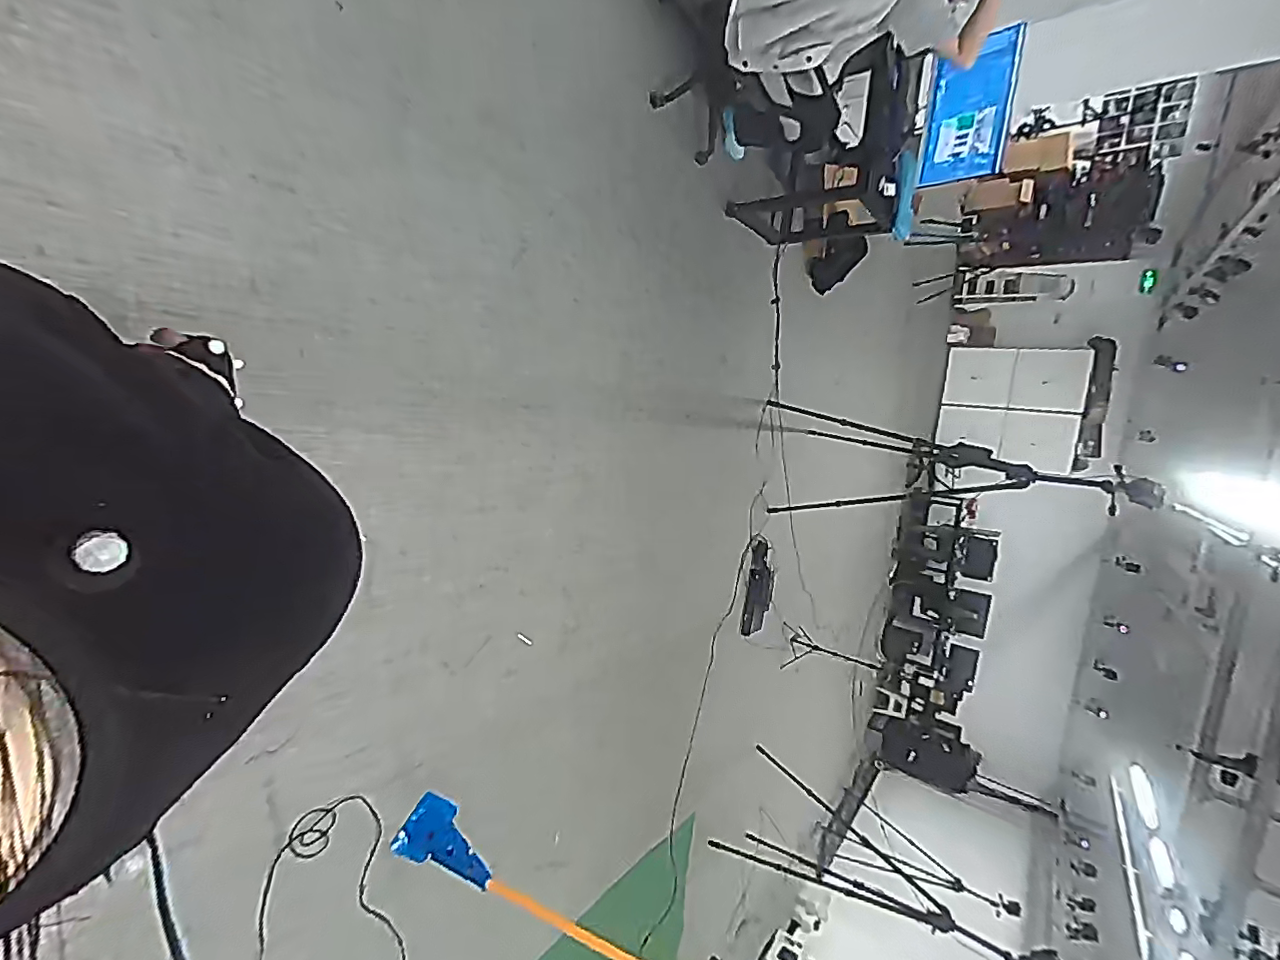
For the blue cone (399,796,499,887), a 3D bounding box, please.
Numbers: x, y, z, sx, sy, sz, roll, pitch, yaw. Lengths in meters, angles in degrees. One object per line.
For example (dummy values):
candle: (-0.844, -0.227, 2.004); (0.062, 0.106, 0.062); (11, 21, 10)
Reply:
blue cone: (-0.612, 1.244, 1.811); (0.193, 0.380, 0.192); (-58, 138, -30)
